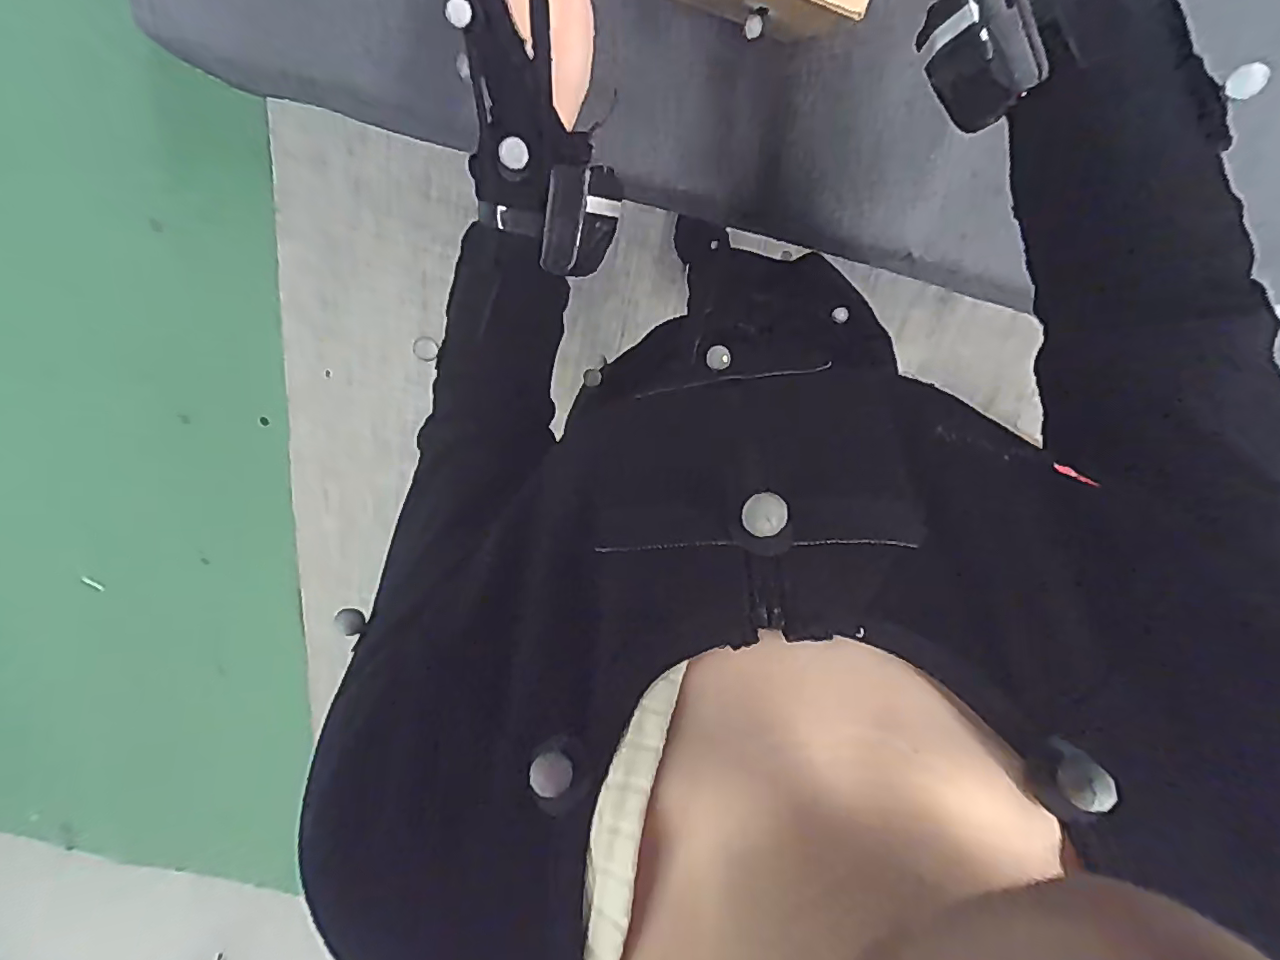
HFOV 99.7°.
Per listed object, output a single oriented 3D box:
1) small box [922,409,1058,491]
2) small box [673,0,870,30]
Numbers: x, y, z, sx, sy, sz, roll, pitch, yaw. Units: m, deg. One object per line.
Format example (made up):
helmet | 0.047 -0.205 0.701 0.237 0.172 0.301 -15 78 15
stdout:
small box | 0.811 -0.053 1.273 0.179 0.176 0.168 15 116 -3
small box | 0.055 -0.374 0.292 0.179 0.176 0.168 12 123 -10
